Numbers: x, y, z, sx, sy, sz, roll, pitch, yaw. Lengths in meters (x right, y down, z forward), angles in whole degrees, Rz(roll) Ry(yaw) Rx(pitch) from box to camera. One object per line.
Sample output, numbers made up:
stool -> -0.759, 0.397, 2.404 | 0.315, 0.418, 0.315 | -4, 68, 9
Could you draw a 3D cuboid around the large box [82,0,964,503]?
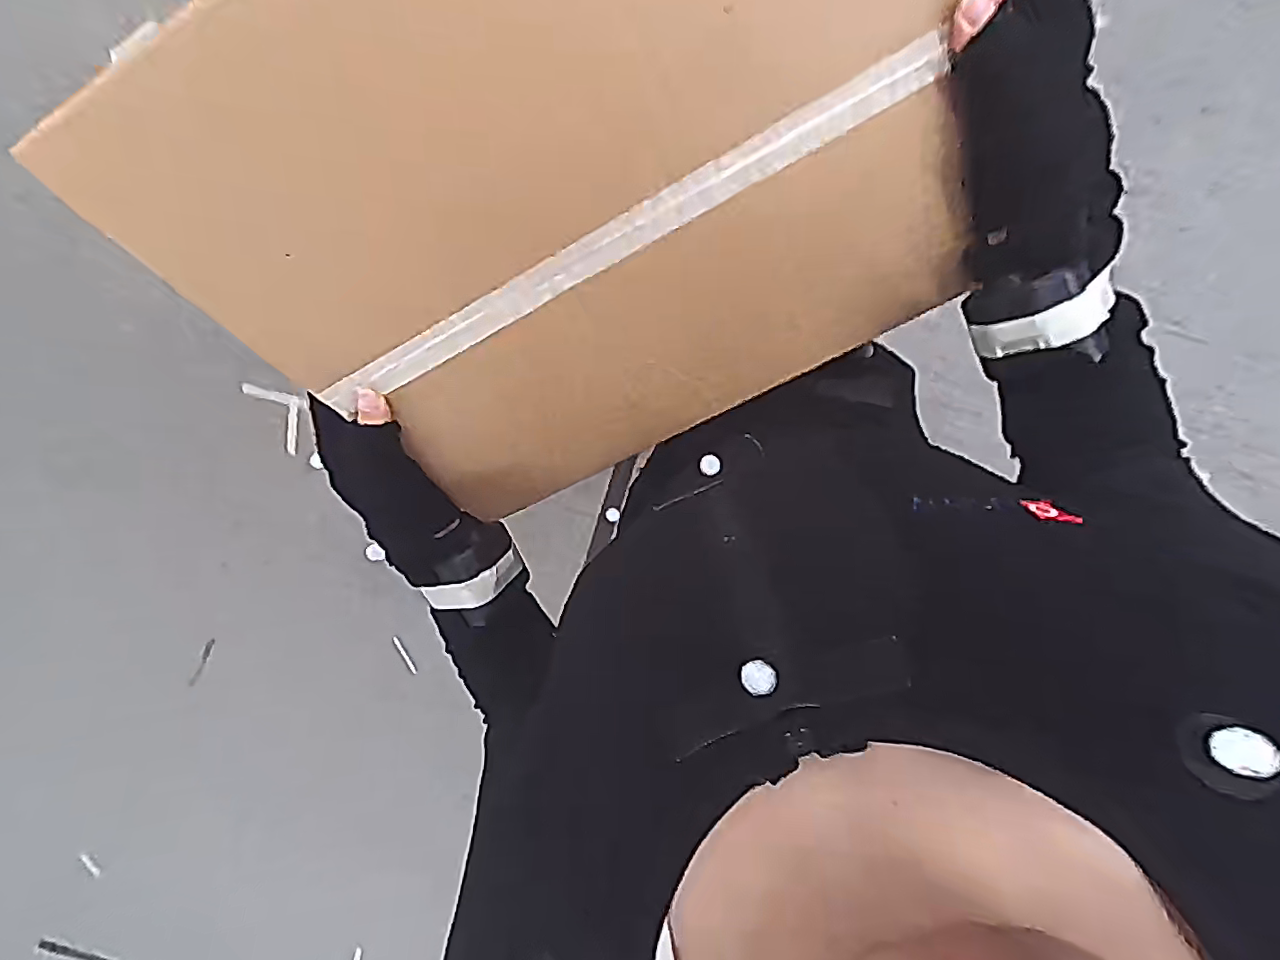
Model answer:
large box -> -0.043, -0.253, 0.406 | 0.408, 0.320, 0.320 | -25, 138, 11
